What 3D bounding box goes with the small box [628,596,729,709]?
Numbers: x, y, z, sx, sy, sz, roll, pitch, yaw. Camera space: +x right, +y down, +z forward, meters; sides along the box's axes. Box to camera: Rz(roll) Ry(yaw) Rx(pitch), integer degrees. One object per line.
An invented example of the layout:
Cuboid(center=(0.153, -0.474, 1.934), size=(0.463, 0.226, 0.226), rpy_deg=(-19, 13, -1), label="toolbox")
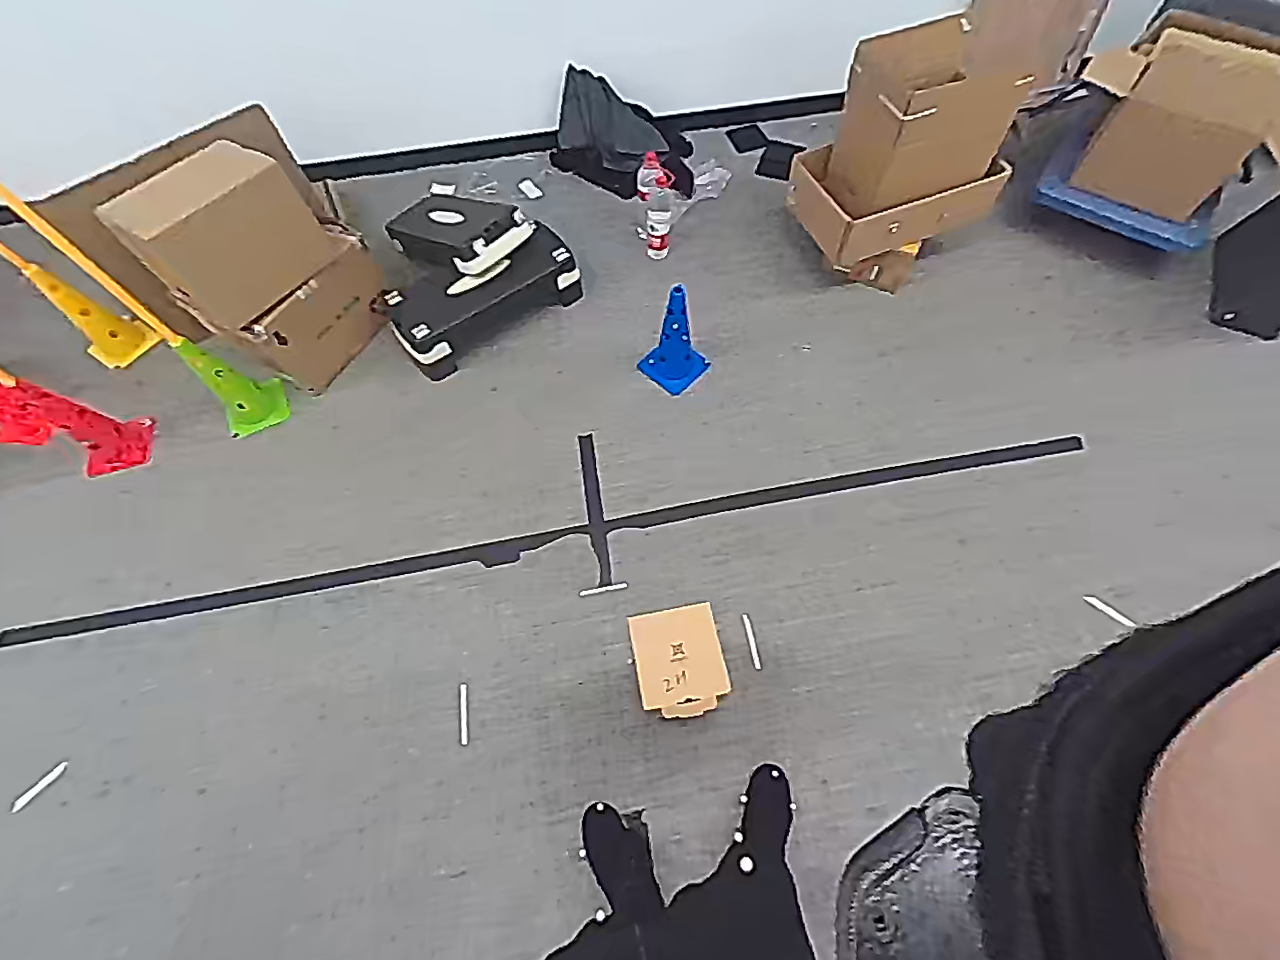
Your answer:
Cuboid(center=(0.068, 0.352, 1.092), size=(0.168, 0.176, 0.179), rpy_deg=(-10, 64, -4), label="small box")
